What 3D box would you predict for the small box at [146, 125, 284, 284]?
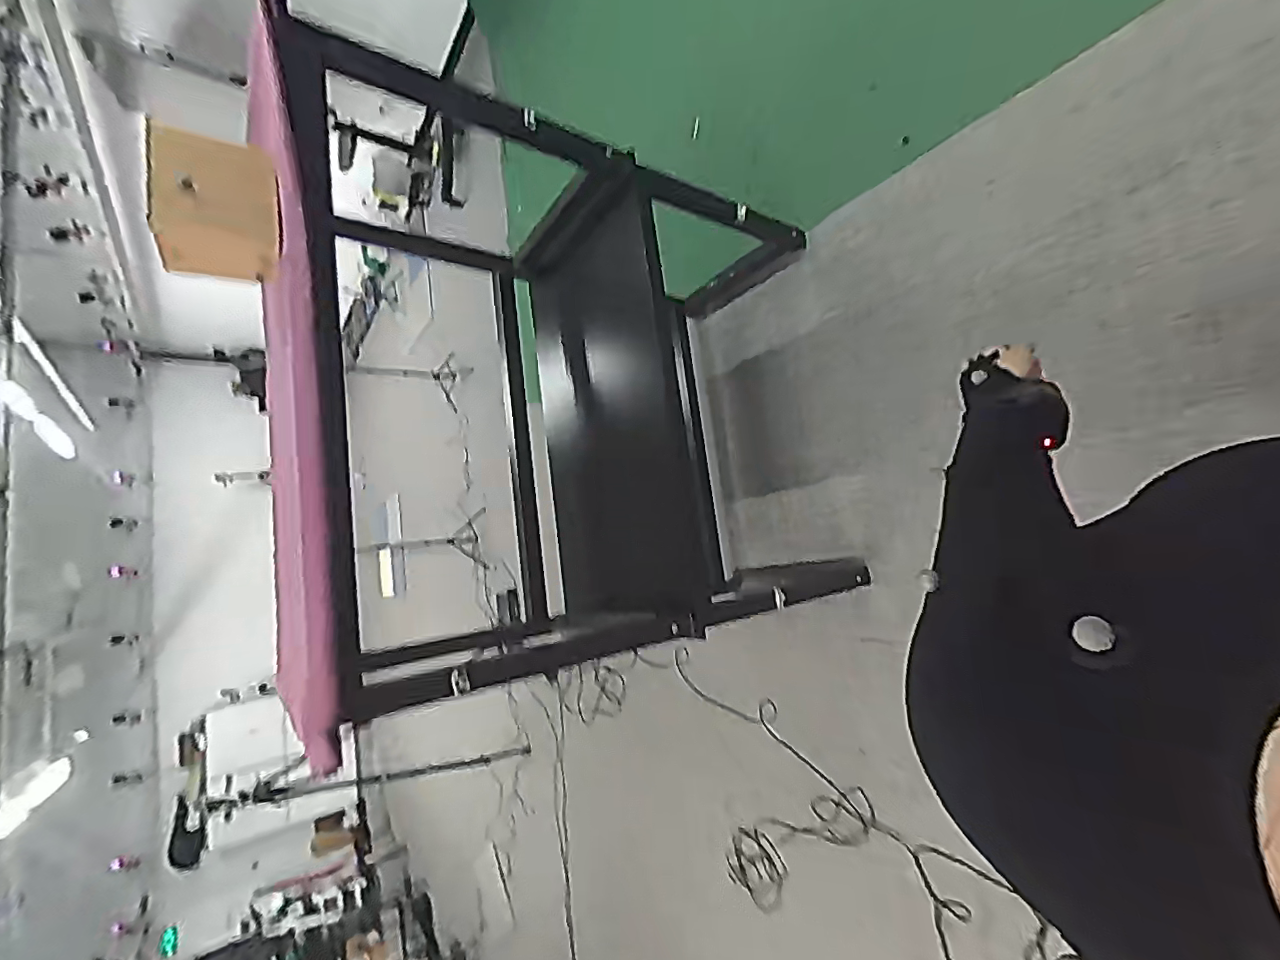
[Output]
[{"bbox_3d":[-0.718,-0.455,0.930,0.168,0.176,0.179,-17,79,54],"label":"small box"}]
